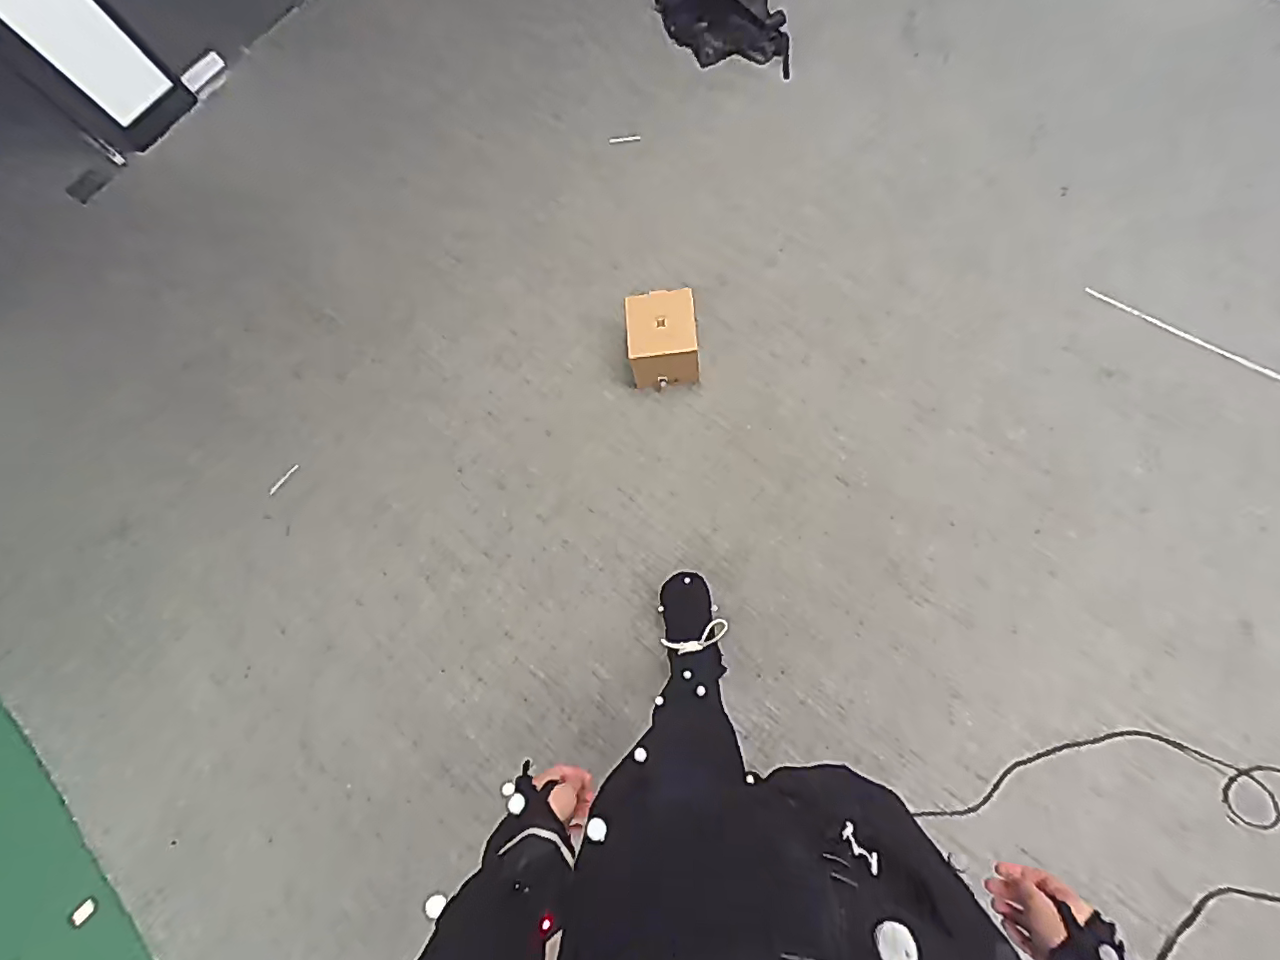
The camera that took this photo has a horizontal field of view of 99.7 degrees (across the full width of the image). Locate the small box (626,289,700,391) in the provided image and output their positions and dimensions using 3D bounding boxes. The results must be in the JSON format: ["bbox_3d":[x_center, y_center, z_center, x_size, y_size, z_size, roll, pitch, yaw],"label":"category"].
[{"bbox_3d":[0.061,-0.344,1.349,0.168,0.176,0.179,-6,73,7],"label":"small box"}]
